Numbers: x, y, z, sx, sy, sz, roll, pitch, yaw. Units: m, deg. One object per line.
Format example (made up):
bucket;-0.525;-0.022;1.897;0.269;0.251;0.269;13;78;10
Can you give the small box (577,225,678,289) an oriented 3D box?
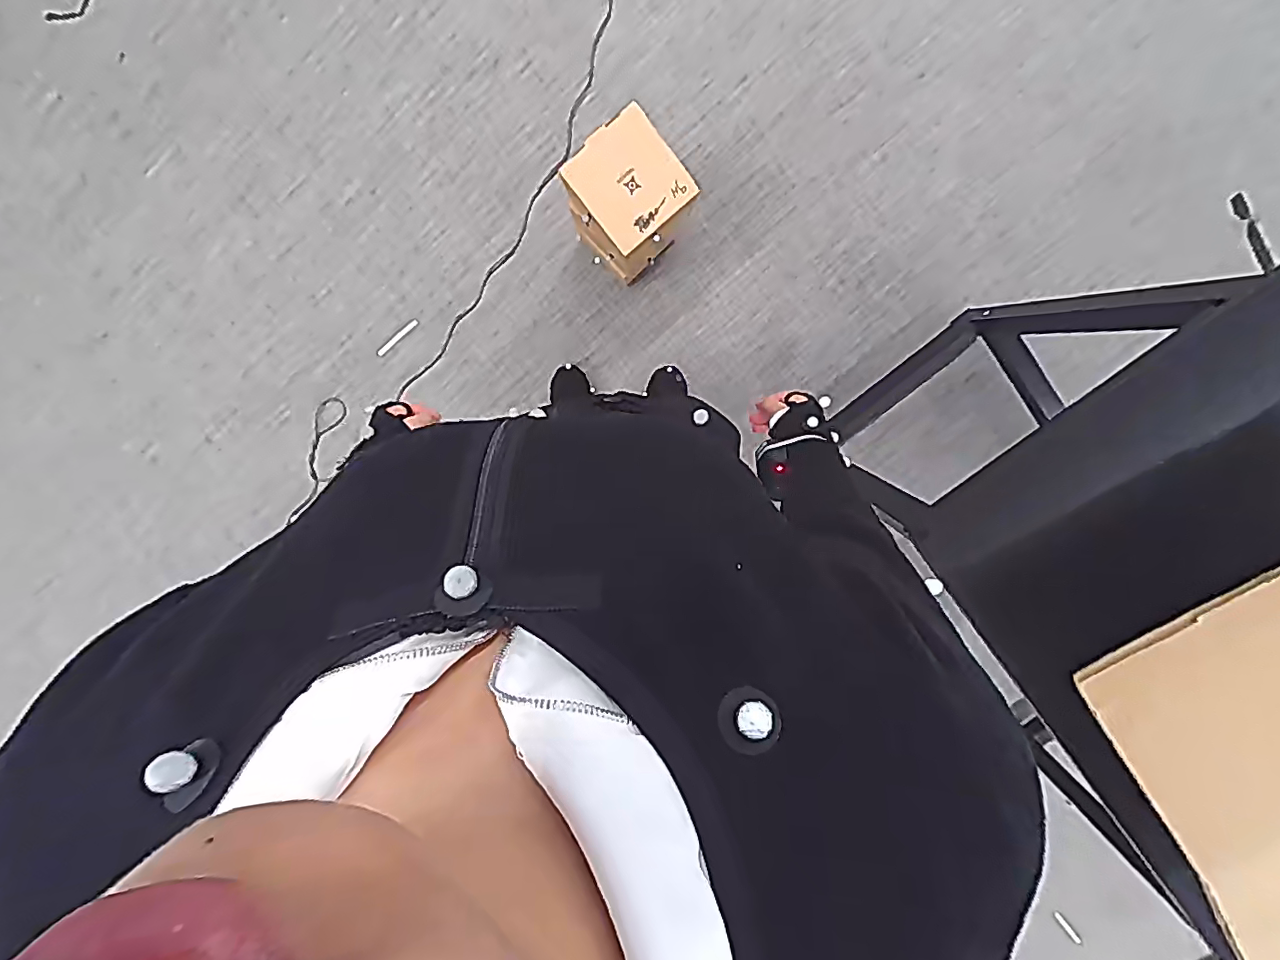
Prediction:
small box;-0.029;-0.583;1.291;0.179;0.176;0.168;-42;99;9

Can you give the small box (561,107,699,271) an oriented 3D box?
small box;-0.017;-0.506;0.974;0.168;0.176;0.179;-38;100;8

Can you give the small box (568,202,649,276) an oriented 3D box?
small box;-0.025;-0.554;1.132;0.168;0.176;0.179;43;98;-10
